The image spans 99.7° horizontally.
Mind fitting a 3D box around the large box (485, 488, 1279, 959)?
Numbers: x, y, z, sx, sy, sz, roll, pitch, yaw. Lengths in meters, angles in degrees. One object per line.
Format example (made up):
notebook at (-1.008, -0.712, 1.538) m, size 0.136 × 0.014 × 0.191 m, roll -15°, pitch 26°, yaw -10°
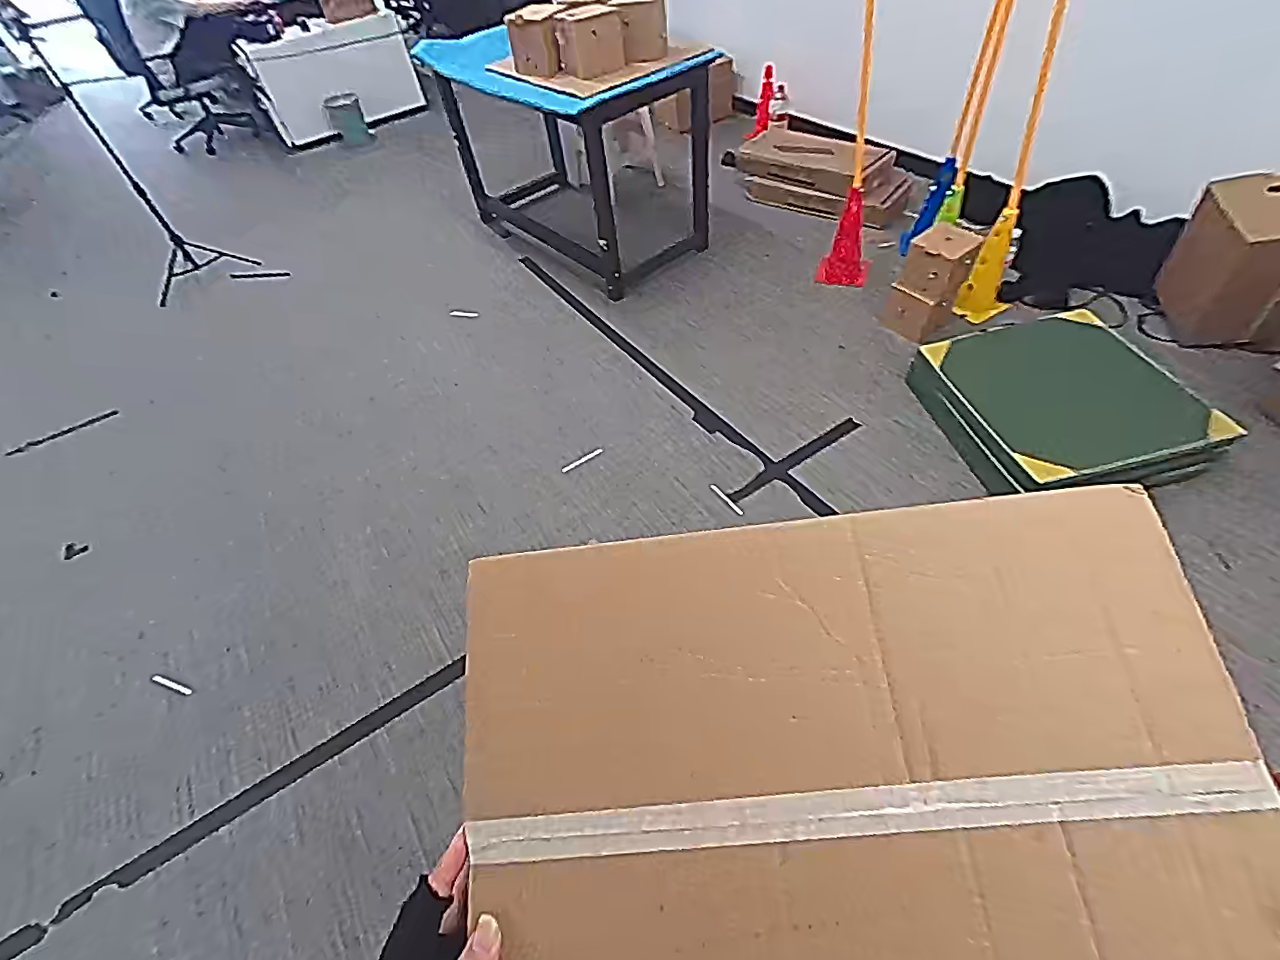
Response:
large box at (0.126, 0.224, 0.430) m, size 0.408 × 0.320 × 0.320 m, roll -8°, pitch 71°, yaw 5°
